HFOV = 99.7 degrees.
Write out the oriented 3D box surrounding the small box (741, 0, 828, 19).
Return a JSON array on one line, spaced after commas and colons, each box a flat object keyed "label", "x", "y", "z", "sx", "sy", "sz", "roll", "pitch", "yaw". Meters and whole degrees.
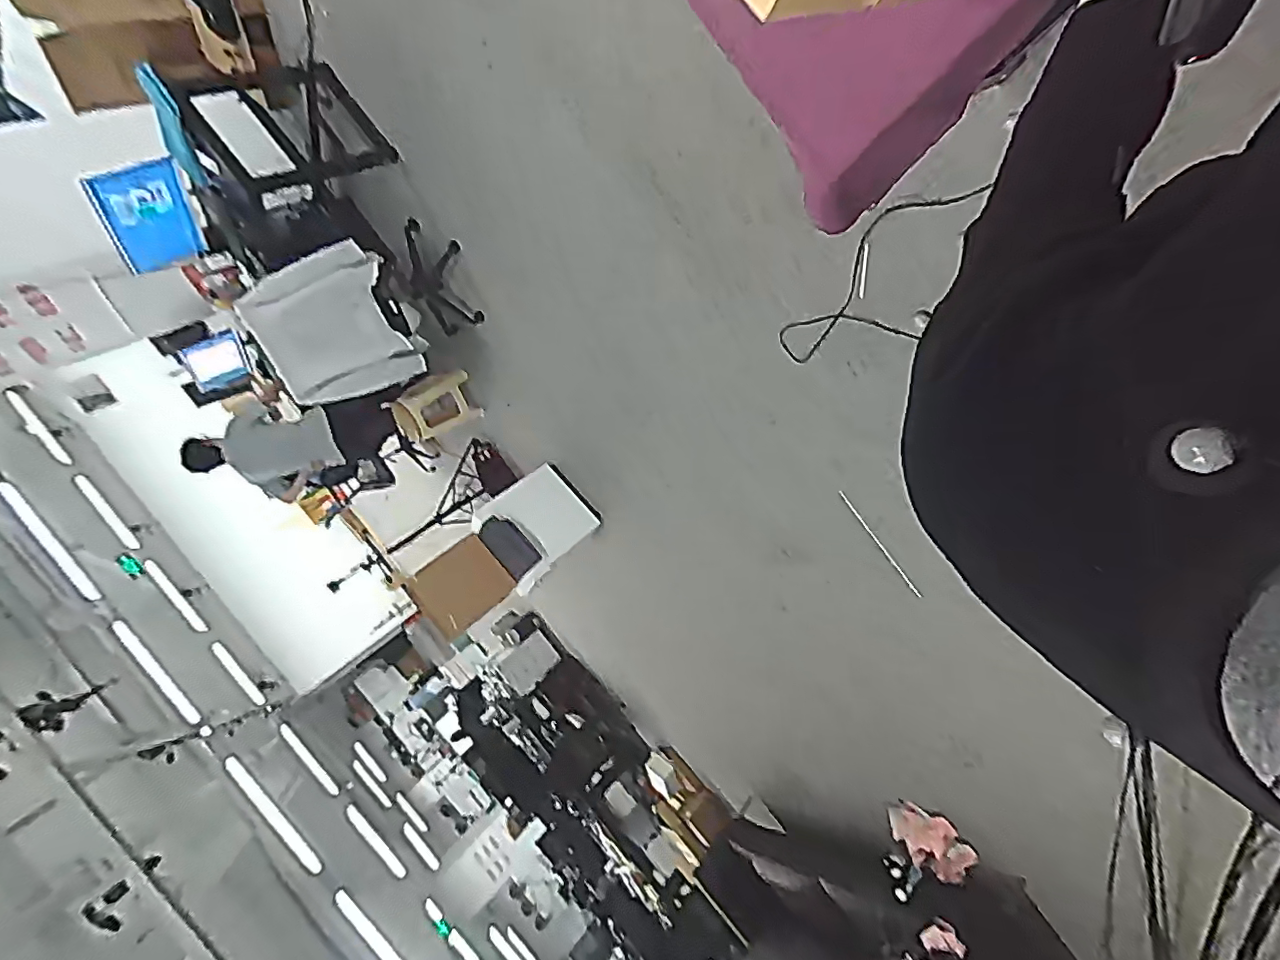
[{"label": "small box", "x": 0.120, "y": -0.467, "z": 0.363, "sx": 0.179, "sy": 0.176, "sz": 0.168, "roll": 52, "pitch": 148, "yaw": 2}]
